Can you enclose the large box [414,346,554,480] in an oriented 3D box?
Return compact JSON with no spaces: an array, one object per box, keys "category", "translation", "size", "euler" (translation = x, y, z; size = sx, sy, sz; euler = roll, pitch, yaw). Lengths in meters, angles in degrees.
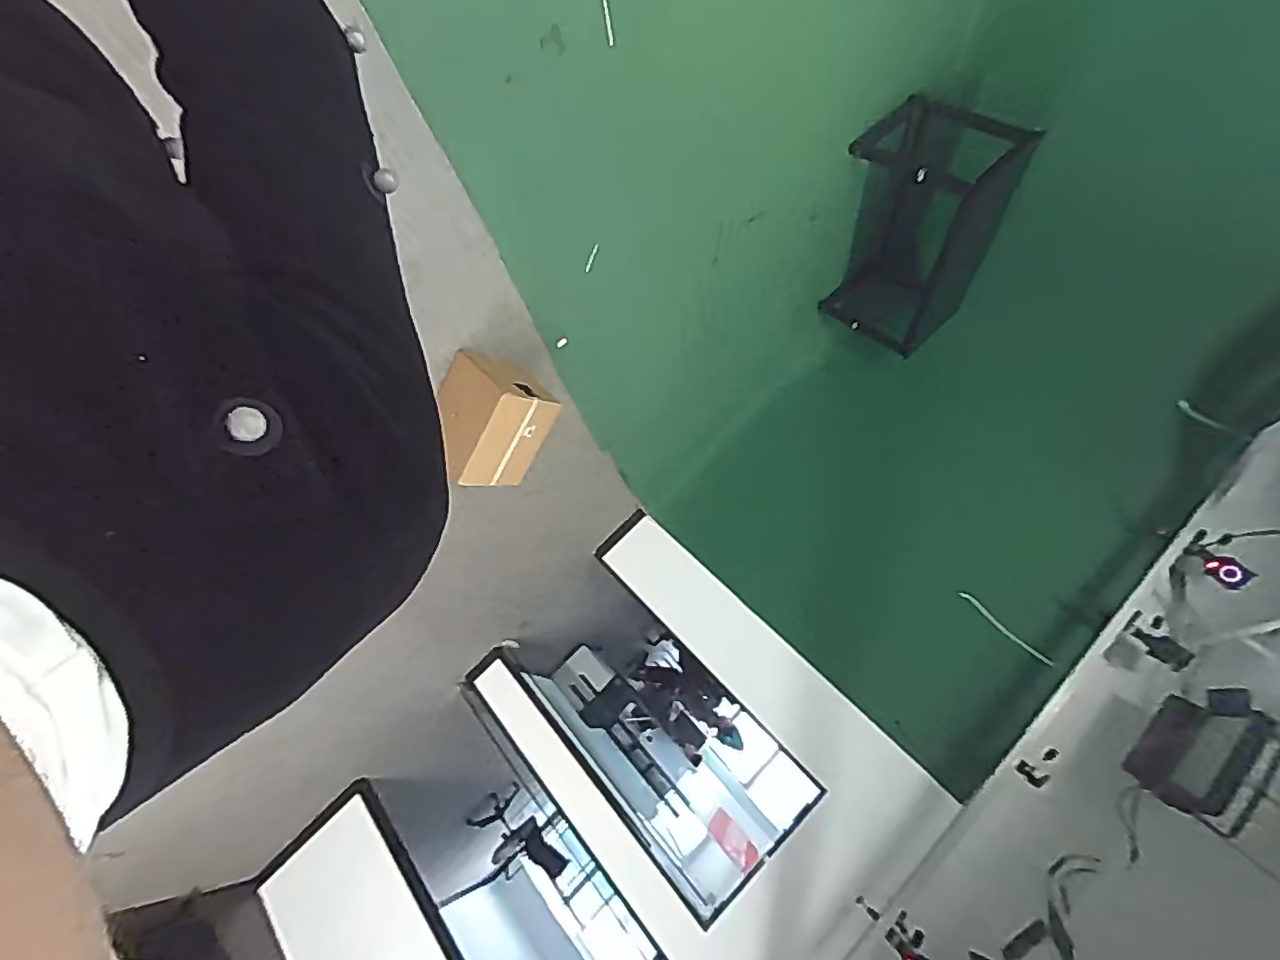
[{"category":"large box","translation":[-0.612,-0.248,2.108],"size":[0.320,0.320,0.408],"euler":[-1,127,-58]}]
